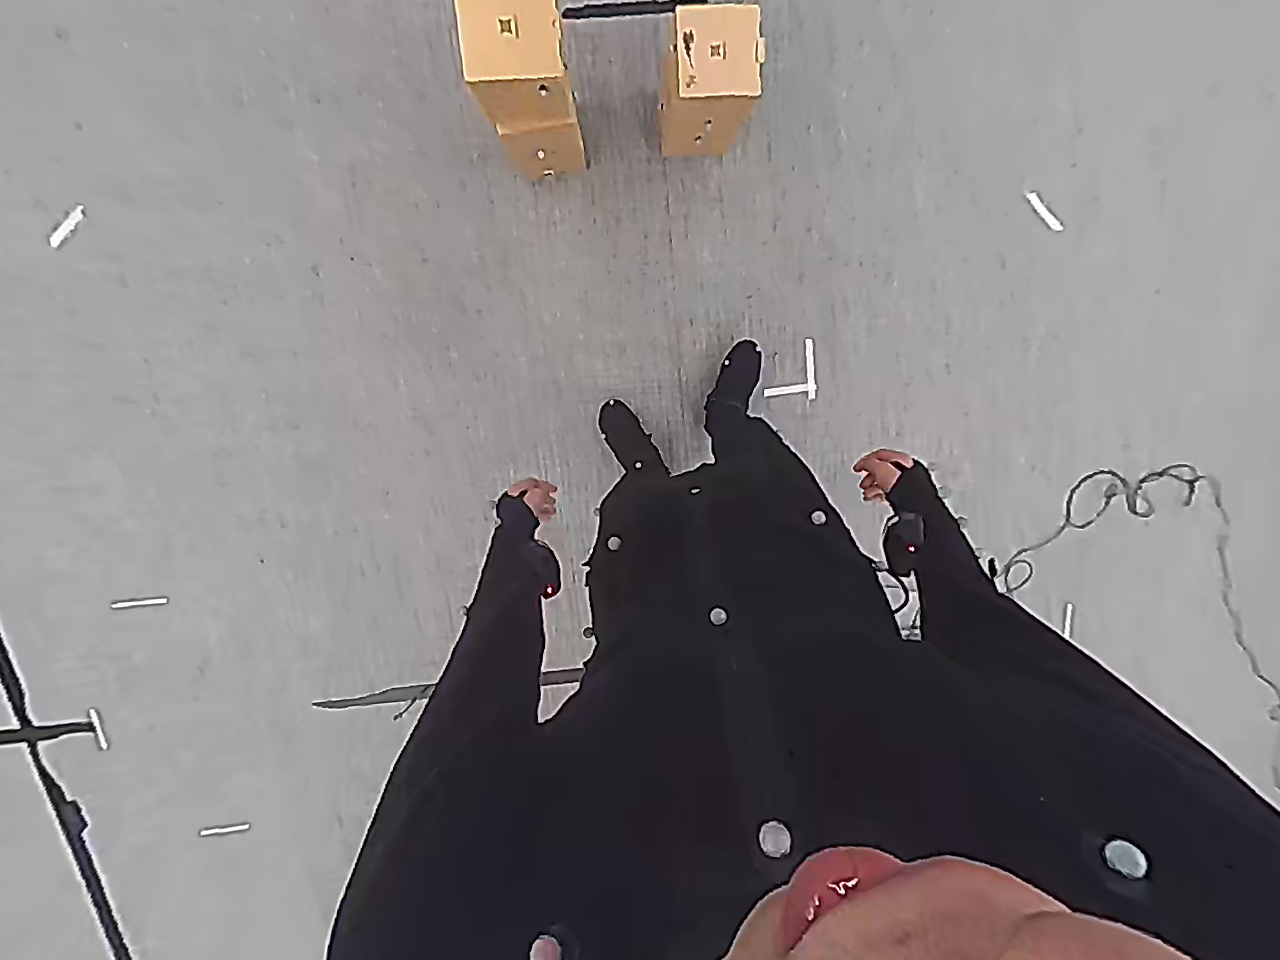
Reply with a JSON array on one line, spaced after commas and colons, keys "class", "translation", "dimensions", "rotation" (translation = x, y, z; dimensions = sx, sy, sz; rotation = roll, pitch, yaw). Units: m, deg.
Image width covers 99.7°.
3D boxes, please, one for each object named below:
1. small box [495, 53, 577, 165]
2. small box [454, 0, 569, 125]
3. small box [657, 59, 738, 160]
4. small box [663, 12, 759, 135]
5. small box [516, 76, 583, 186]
[{"class": "small box", "translation": [-0.232, -0.816, 1.173], "dimensions": [0.168, 0.176, 0.179], "rotation": [-10, 103, -2]}, {"class": "small box", "translation": [-0.232, -0.791, 1.012], "dimensions": [0.179, 0.176, 0.168], "rotation": [-5, 102, -3]}, {"class": "small box", "translation": [0.138, -0.918, 1.350], "dimensions": [0.179, 0.176, 0.168], "rotation": [-5, 103, -5]}, {"class": "small box", "translation": [0.152, -0.884, 1.190], "dimensions": [0.179, 0.176, 0.168], "rotation": [-4, 102, -5]}, {"class": "small box", "translation": [-0.238, -0.856, 1.332], "dimensions": [0.168, 0.176, 0.179], "rotation": [-11, 103, -2]}]
